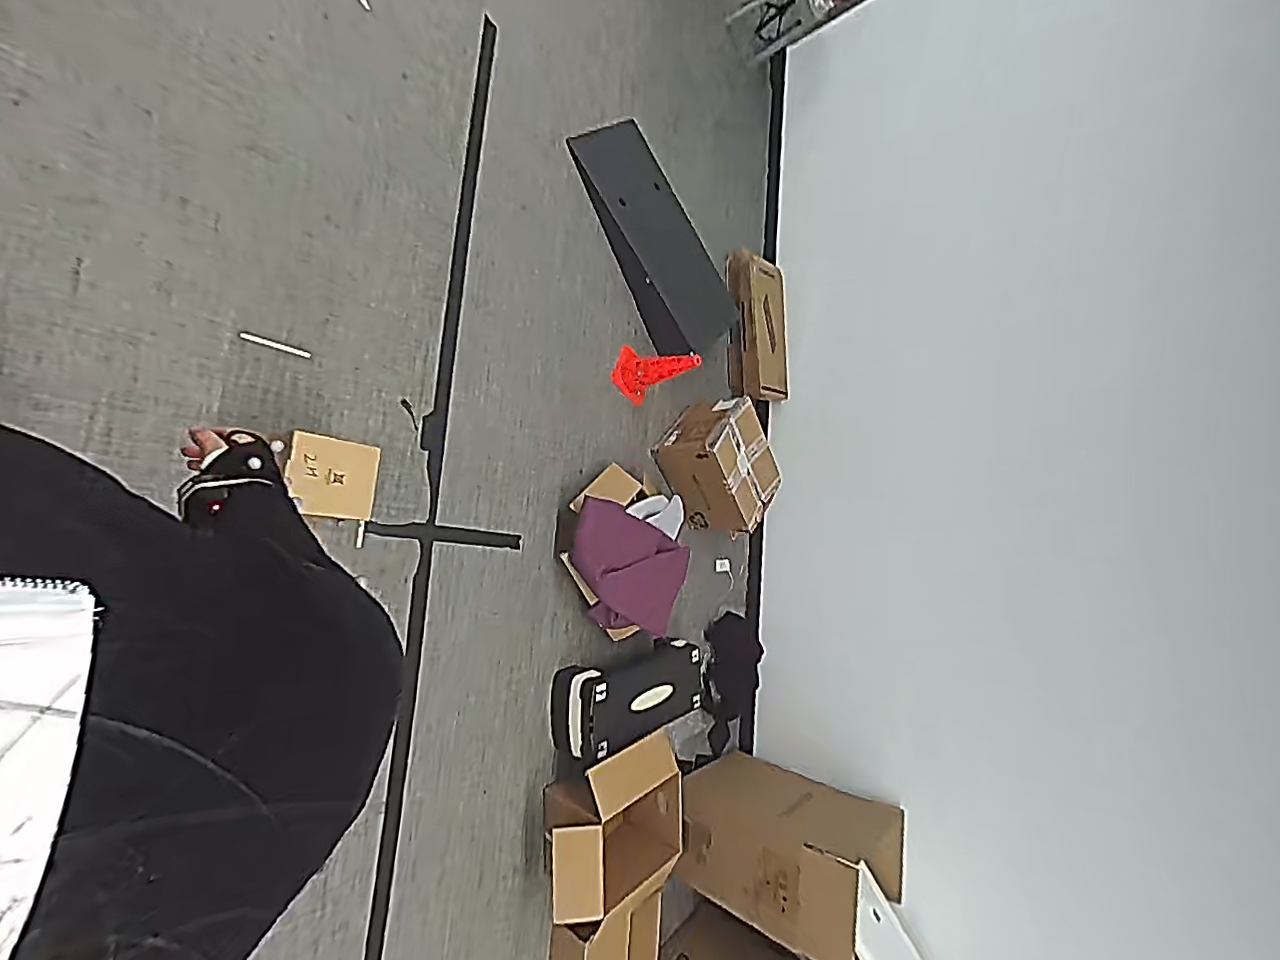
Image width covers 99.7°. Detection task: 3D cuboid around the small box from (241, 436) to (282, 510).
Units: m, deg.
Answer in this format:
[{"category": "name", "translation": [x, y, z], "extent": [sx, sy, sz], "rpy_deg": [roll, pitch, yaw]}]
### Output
[{"category": "small box", "translation": [-0.822, -0.003, 1.298], "extent": [0.179, 0.176, 0.168], "rpy_deg": [14, 77, -47]}]

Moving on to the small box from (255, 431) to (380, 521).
[{"category": "small box", "translation": [-0.703, -0.002, 1.182], "extent": [0.179, 0.176, 0.168], "rpy_deg": [15, 76, -48]}]
